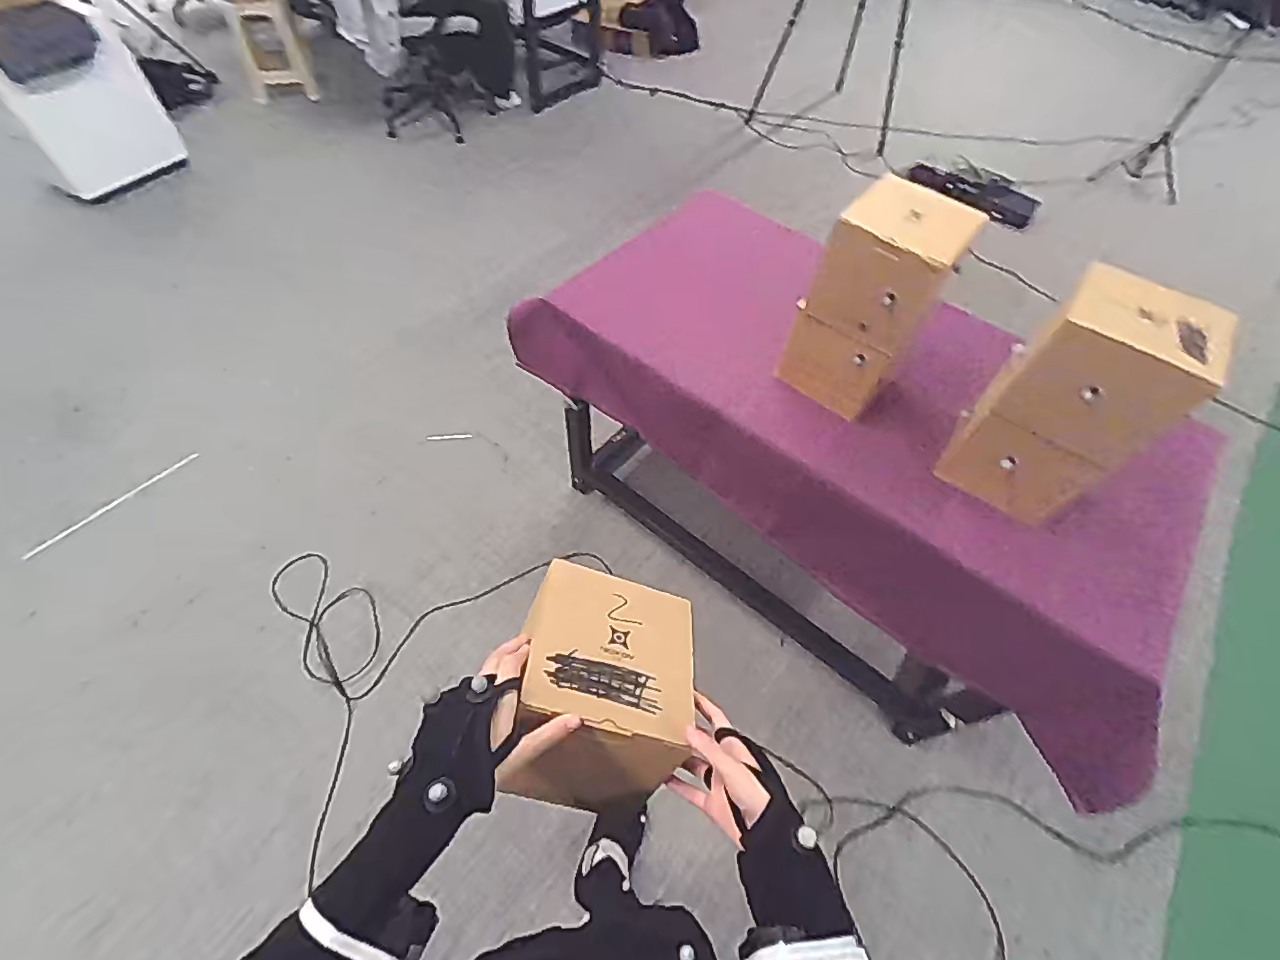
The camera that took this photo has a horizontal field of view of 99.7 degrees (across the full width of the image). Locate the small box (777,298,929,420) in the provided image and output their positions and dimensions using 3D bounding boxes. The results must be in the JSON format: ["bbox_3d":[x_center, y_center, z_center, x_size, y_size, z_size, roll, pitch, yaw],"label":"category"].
[{"bbox_3d":[0.379,-0.242,0.992,0.179,0.176,0.168,37,61,19],"label":"small box"}]

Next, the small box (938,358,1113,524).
[{"bbox_3d":[0.623,-0.058,0.876,0.179,0.176,0.168,33,60,19],"label":"small box"}]

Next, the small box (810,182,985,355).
[{"bbox_3d":[0.393,-0.330,0.856,0.168,0.176,0.179,36,60,18],"label":"small box"}]

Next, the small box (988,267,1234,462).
[{"bbox_3d":[0.629,-0.150,0.739,0.179,0.176,0.168,34,60,19],"label":"small box"}]
